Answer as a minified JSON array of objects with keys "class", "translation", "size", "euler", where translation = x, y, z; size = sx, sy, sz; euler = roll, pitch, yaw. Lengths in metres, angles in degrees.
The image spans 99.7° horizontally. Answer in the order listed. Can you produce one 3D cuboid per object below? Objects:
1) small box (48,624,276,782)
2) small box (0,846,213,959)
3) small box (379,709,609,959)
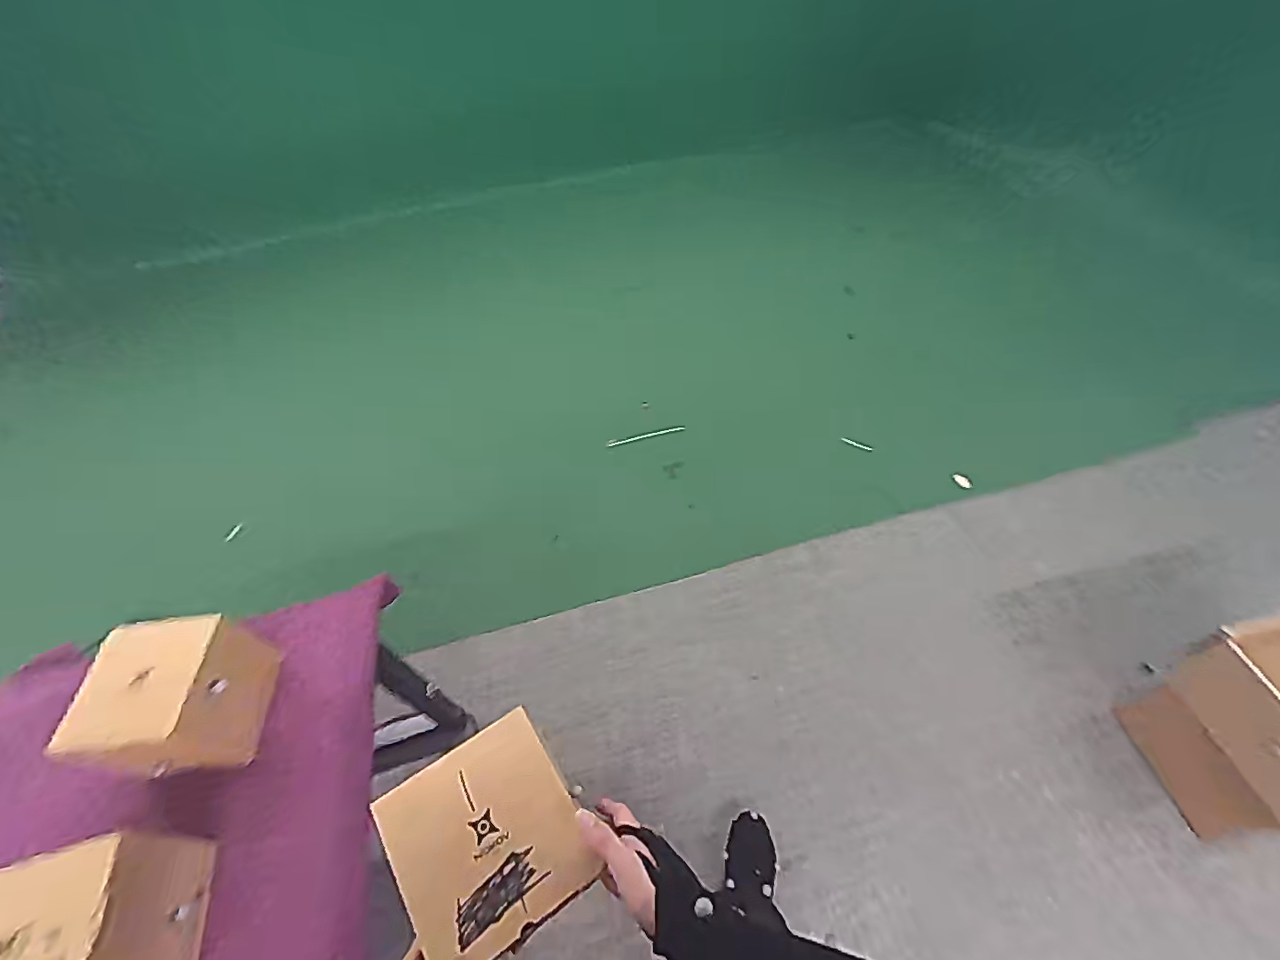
[{"class":"small box","translation":[-0.698,0.341,0.822],"size":[0.168,0.176,0.179],"euler":[-7,53,0]},{"class":"small box","translation":[-0.668,0.563,0.642],"size":[0.179,0.176,0.168],"euler":[-15,52,-6]},{"class":"small box","translation":[-0.141,0.379,0.574],"size":[0.168,0.176,0.179],"euler":[-27,61,-19]}]
